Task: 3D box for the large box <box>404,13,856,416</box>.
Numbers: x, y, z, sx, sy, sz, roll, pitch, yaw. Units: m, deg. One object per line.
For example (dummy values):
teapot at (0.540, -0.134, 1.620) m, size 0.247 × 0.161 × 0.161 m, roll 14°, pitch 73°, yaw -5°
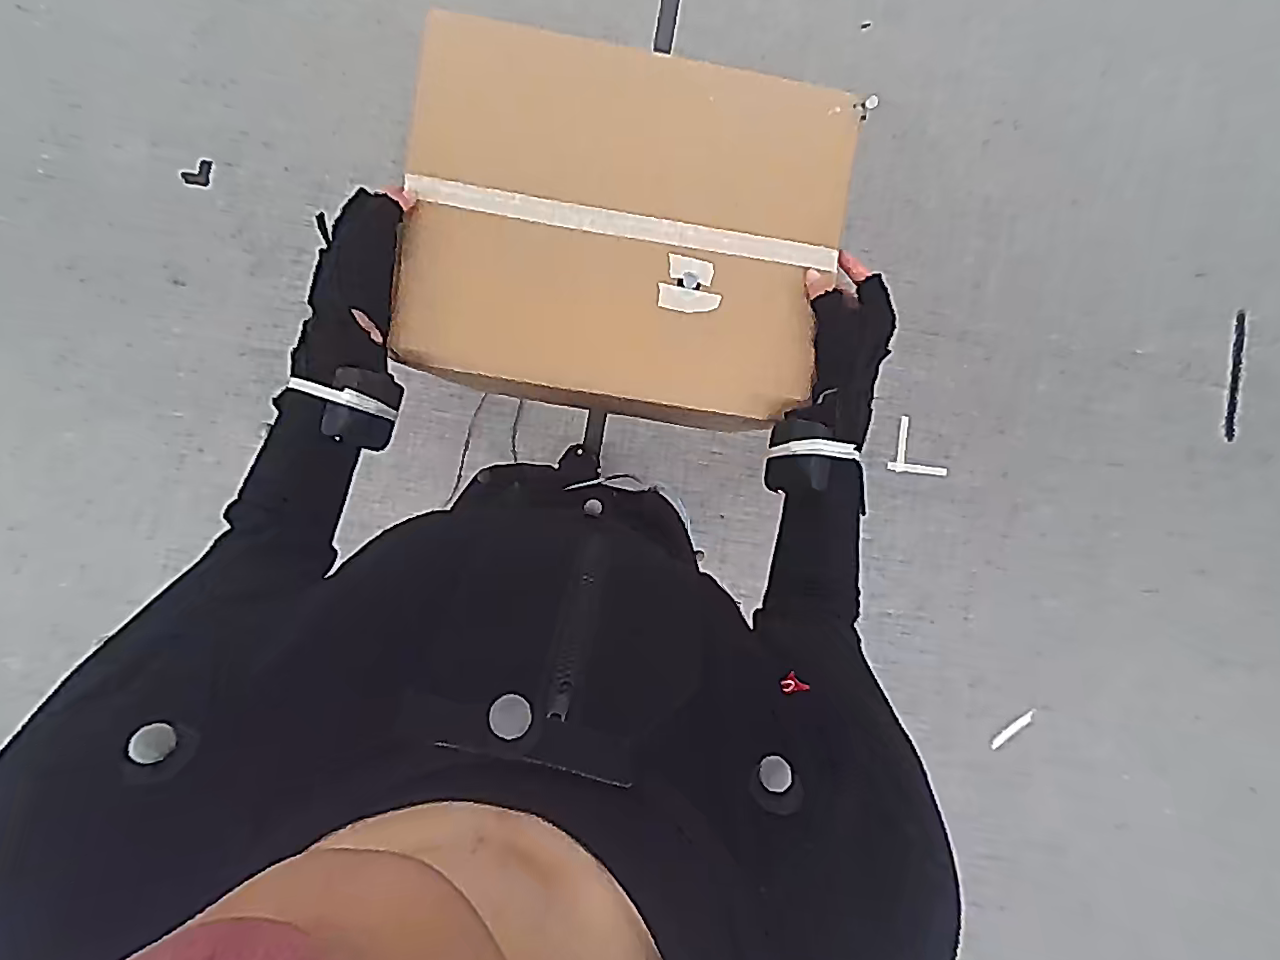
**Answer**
large box at (-0.019, -0.262, 0.663) m, size 0.408 × 0.320 × 0.320 m, roll 9°, pitch 95°, yaw -4°
